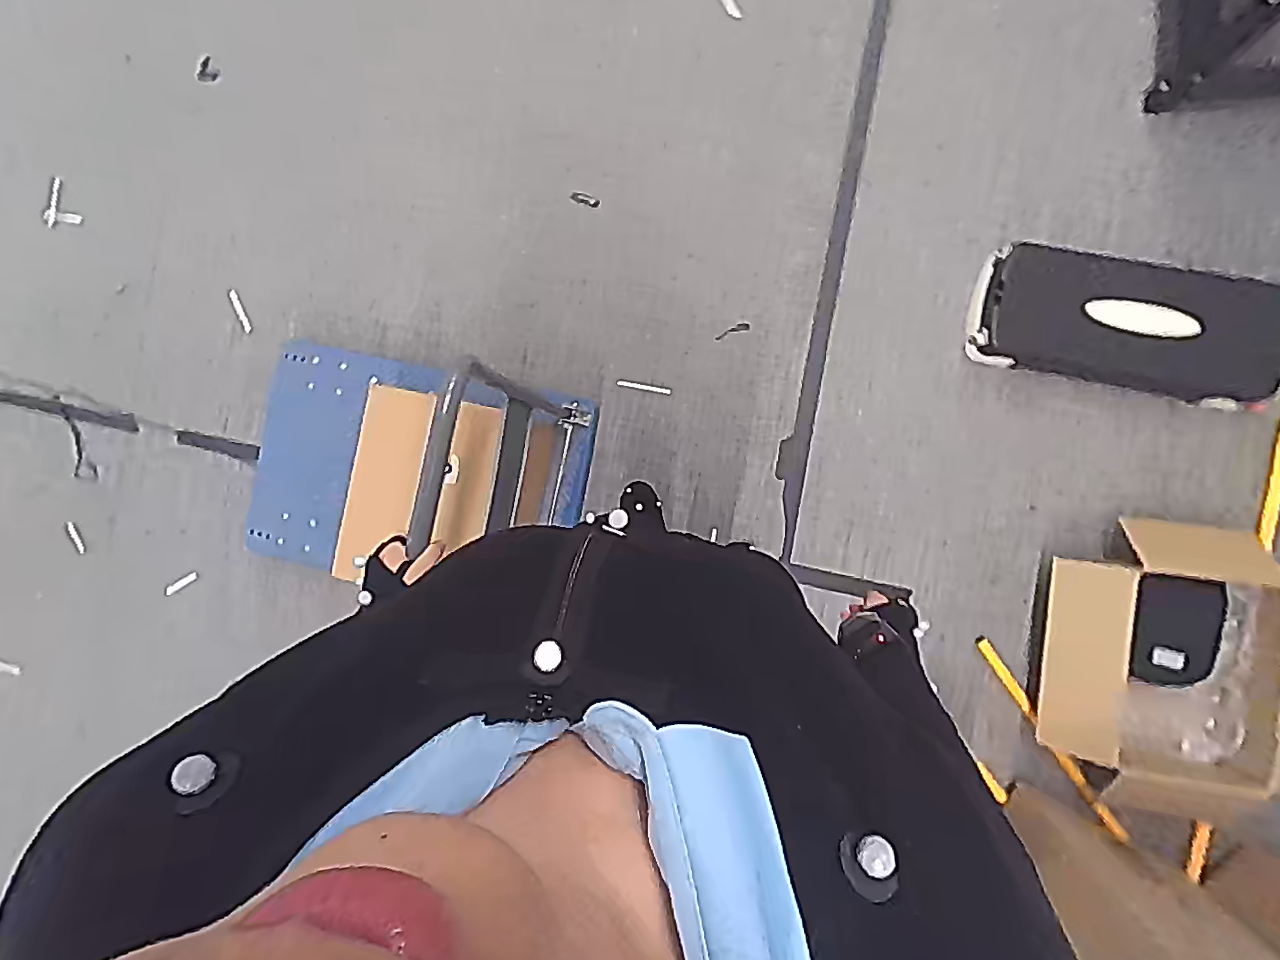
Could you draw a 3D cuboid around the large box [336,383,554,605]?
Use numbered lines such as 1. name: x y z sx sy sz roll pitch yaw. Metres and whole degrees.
1. large box: -0.418 0.030 1.231 0.320 0.320 0.408 13 91 5
